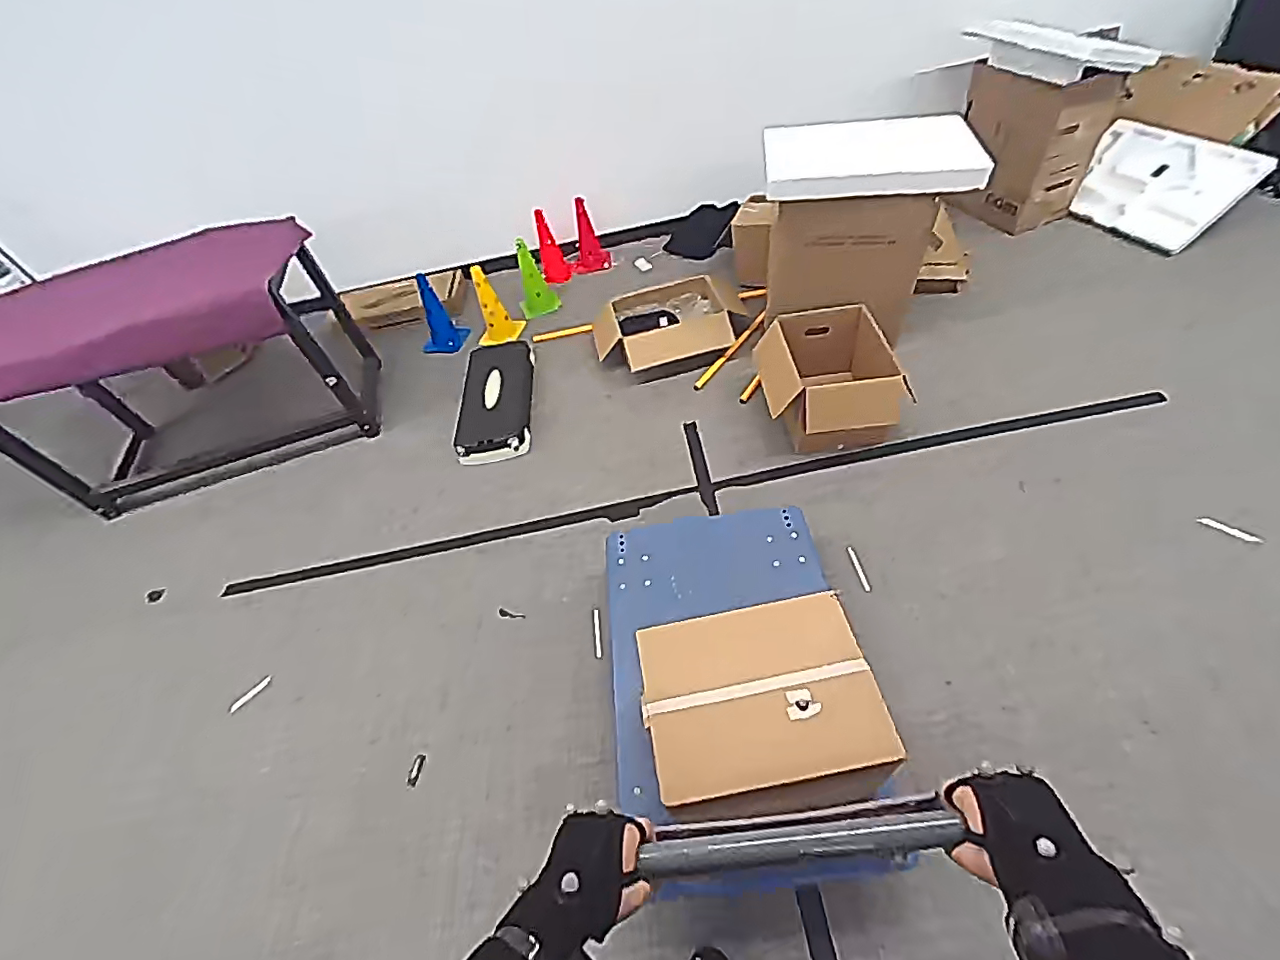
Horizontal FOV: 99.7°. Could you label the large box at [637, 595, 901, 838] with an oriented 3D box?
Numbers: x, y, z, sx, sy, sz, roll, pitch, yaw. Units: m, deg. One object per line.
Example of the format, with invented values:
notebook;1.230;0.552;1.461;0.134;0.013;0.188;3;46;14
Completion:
large box;0.229;0.480;1.088;0.408;0.320;0.320;-11;49;-1
